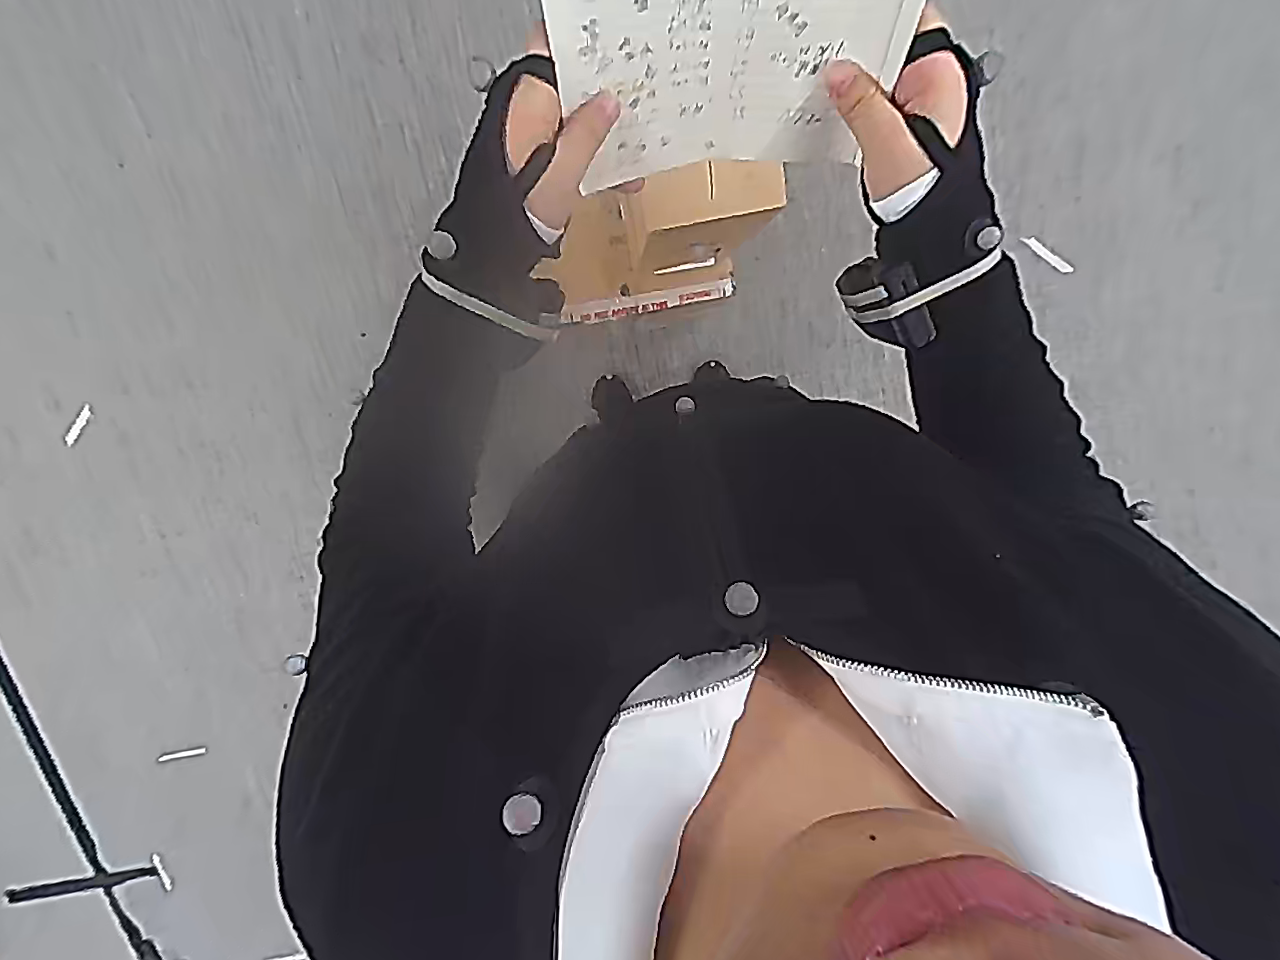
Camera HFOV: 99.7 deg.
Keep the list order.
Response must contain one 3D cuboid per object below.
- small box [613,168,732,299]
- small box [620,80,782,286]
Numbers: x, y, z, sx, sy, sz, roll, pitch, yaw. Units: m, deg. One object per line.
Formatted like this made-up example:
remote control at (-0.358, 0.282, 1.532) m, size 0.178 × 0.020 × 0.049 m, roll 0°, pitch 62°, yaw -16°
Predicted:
small box at (0.058, -0.394, 0.852) m, size 0.179 × 0.176 × 0.168 m, roll -14°, pitch 102°, yaw 1°
small box at (0.068, -0.361, 0.691) m, size 0.168 × 0.176 × 0.179 m, roll -11°, pitch 103°, yaw 0°
